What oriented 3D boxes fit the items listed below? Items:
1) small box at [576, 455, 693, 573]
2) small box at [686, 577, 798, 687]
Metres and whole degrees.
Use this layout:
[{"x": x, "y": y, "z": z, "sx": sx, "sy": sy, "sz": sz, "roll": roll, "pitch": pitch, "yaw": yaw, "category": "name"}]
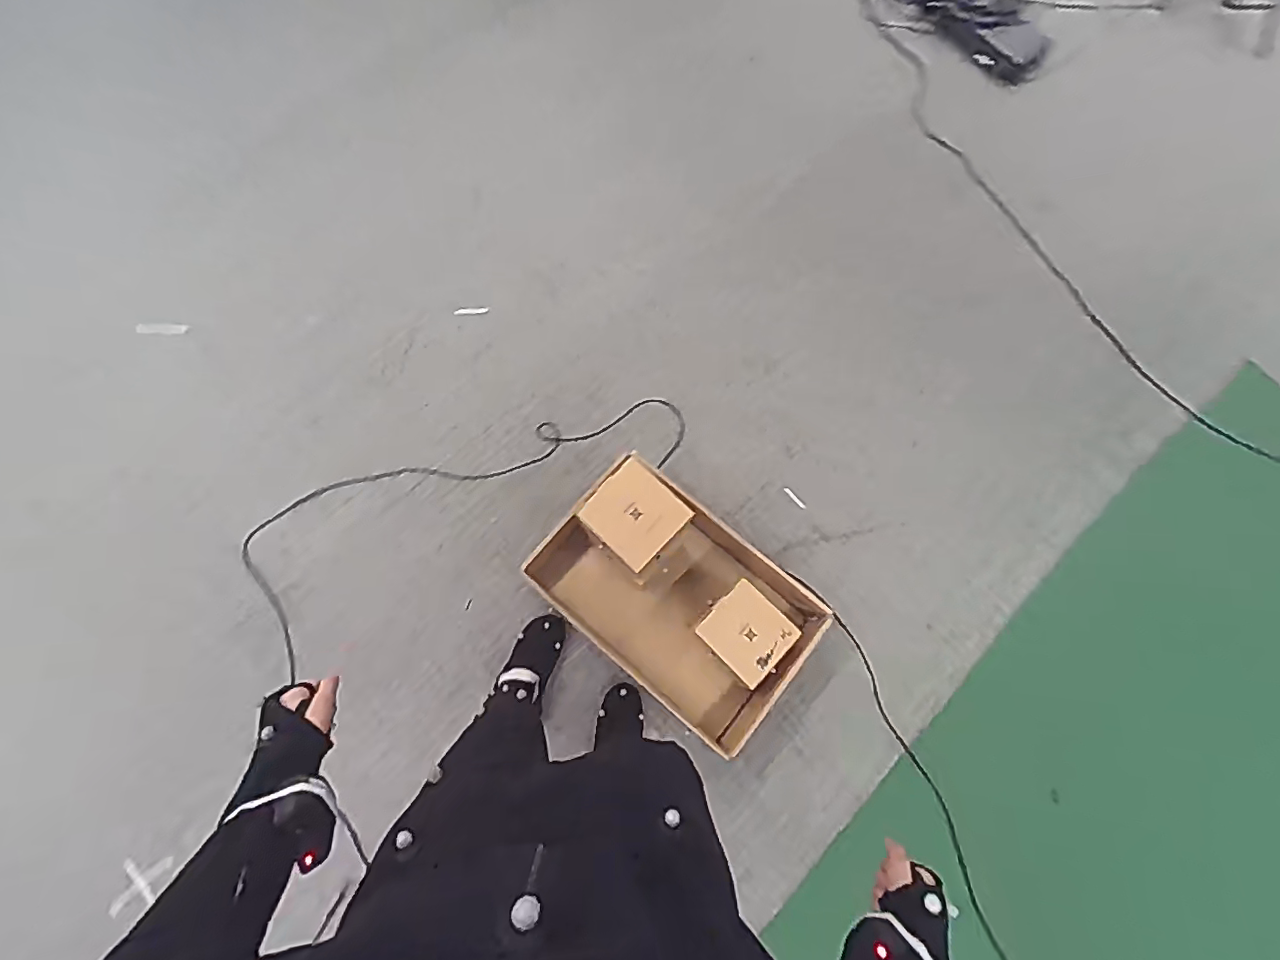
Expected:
[{"x": -0.014, "y": 0.081, "z": 1.141, "sx": 0.168, "sy": 0.176, "sz": 0.179, "roll": -43, "pitch": 81, "yaw": -11, "category": "small box"}, {"x": 0.223, "y": 0.350, "z": 1.240, "sx": 0.168, "sy": 0.176, "sz": 0.179, "roll": -42, "pitch": 79, "yaw": -12, "category": "small box"}]
